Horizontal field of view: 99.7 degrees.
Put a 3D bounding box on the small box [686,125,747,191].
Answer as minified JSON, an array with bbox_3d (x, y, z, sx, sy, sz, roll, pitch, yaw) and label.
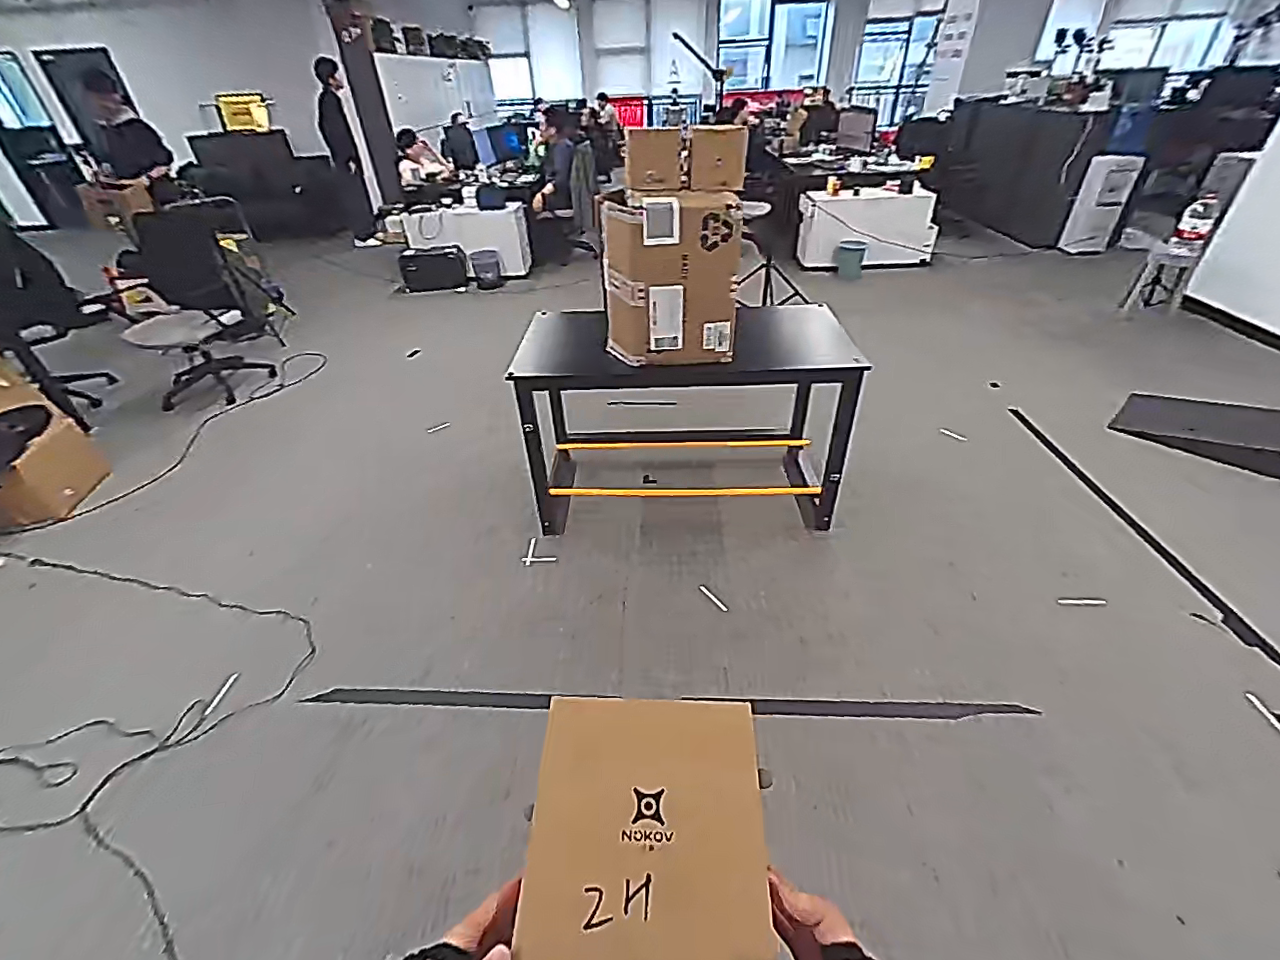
[{"bbox_3d":[0.240,-1.032,1.733,0.168,0.176,0.179,0,37,-2],"label":"small box"}]

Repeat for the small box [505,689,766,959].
[{"bbox_3d":[0.002,0.295,0.446,0.168,0.176,0.179,0,45,3],"label":"small box"}]

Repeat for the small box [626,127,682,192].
[{"bbox_3d":[0.041,-1.034,1.744,0.168,0.176,0.179,-5,35,-4],"label":"small box"}]
